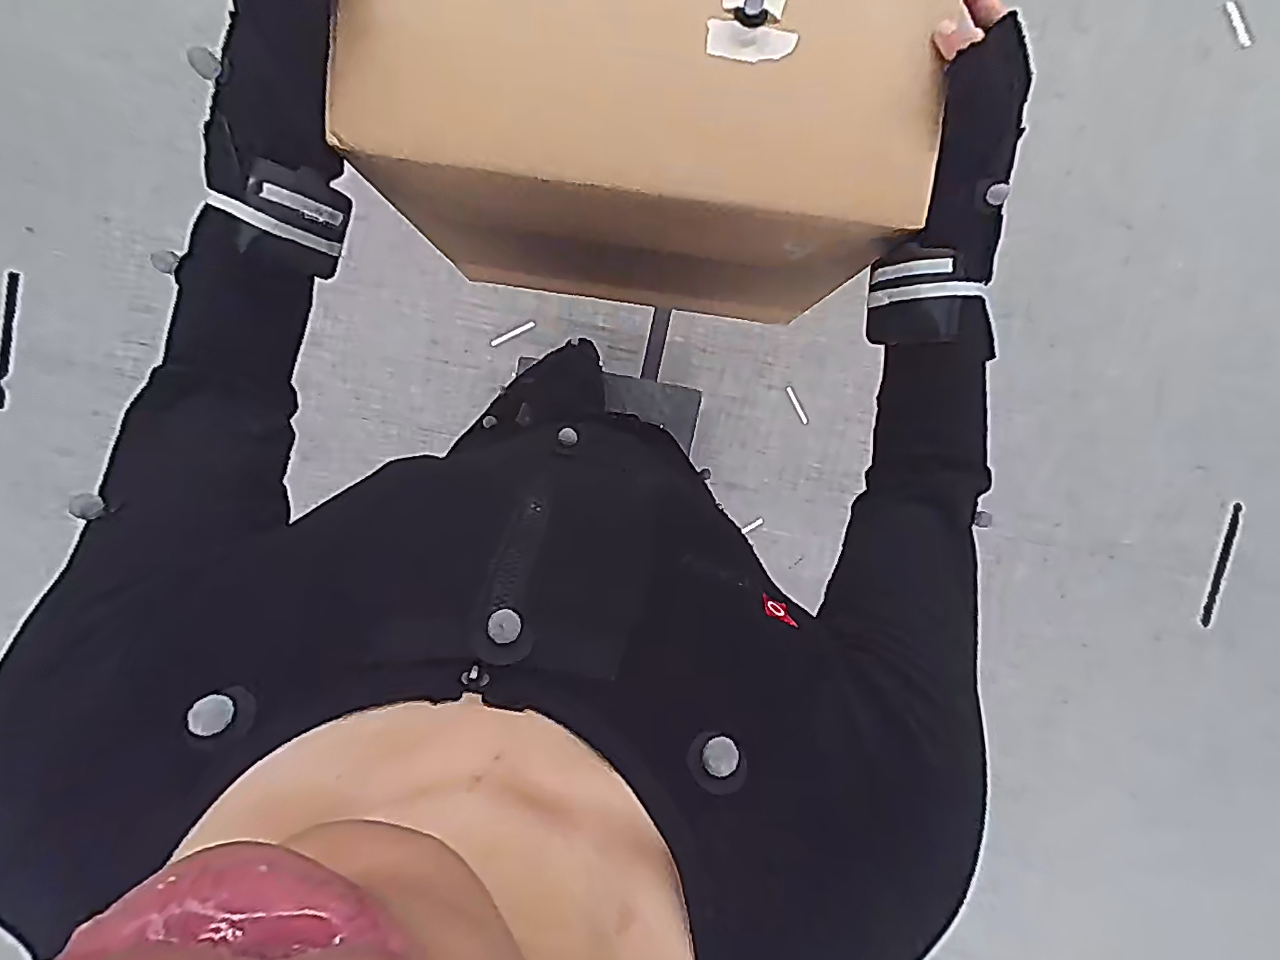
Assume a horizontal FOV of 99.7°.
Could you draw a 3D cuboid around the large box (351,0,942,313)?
[{"bbox_3d":[0.008,-0.370,0.515,0.408,0.320,0.320,7,95,-2],"label":"large box"}]
